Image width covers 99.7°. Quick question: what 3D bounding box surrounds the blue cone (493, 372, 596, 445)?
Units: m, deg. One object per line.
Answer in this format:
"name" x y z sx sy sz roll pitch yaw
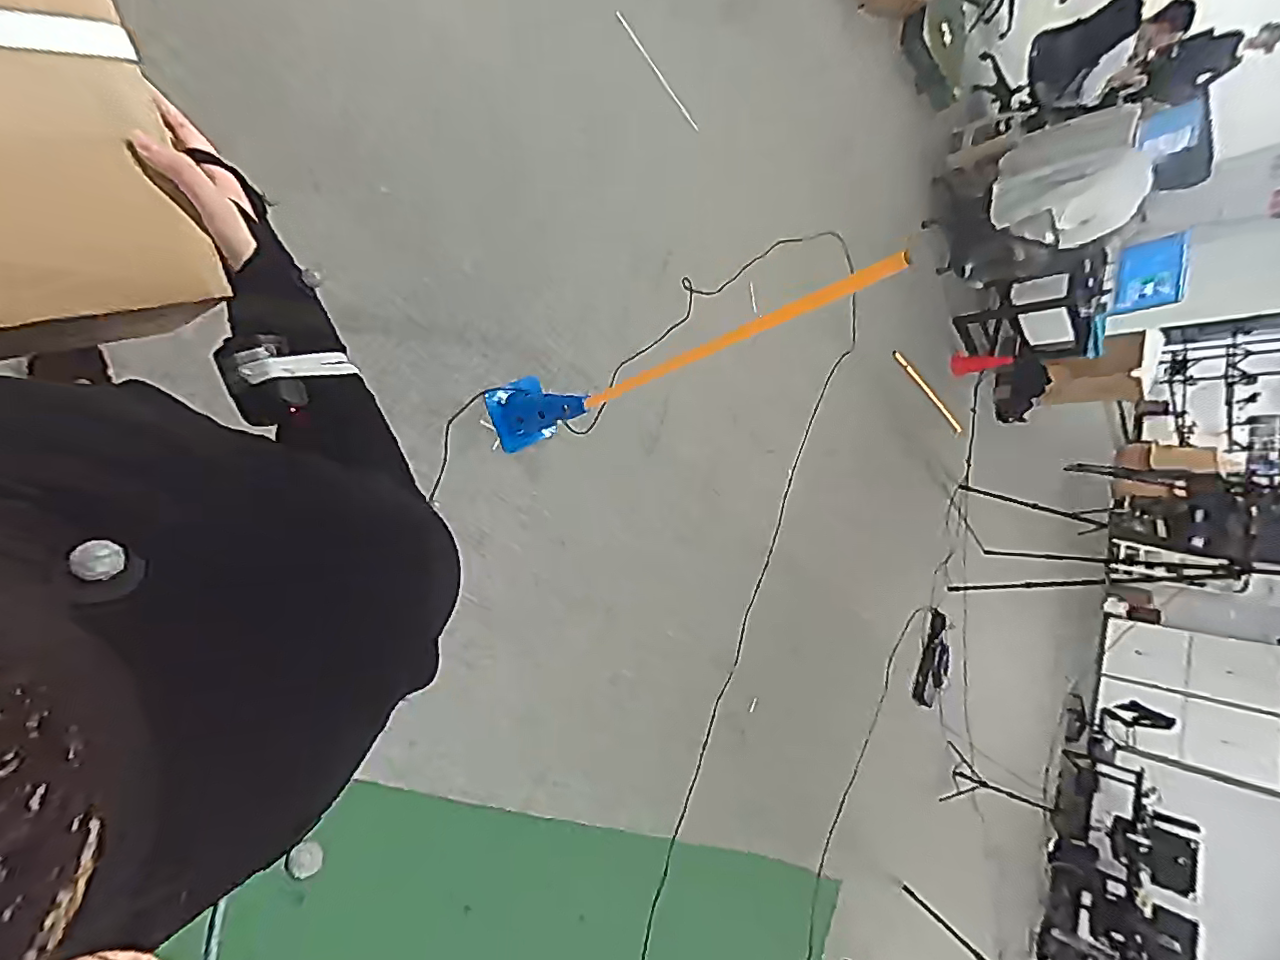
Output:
"blue cone" -0.242 -0.215 1.553 0.193 0.380 0.192 -34 112 -34
